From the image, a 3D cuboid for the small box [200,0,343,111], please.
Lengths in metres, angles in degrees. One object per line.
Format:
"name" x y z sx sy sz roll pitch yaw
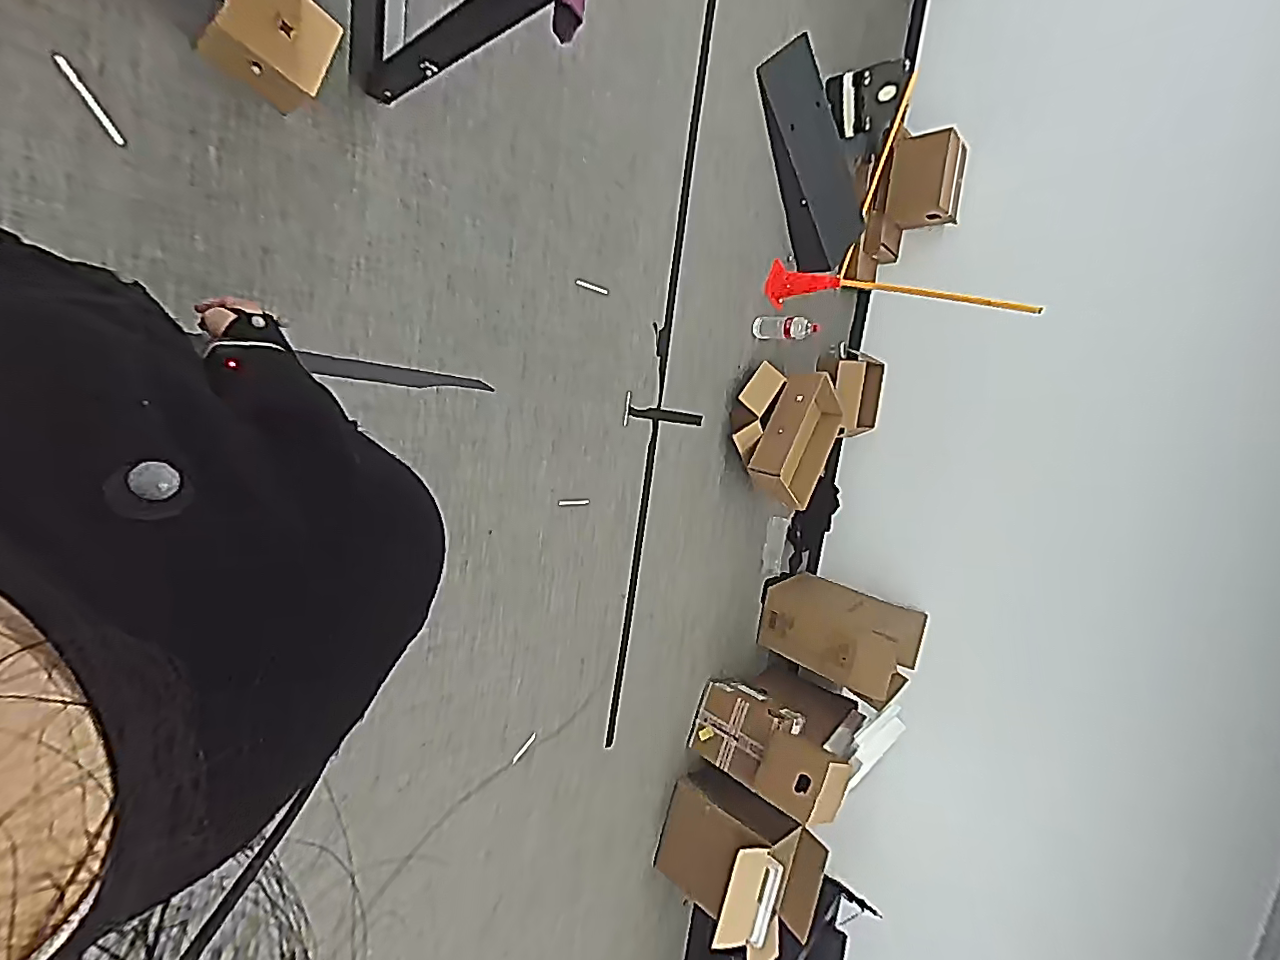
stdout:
"small box" -0.751 -0.894 1.101 0.179 0.176 0.168 24 83 -48
